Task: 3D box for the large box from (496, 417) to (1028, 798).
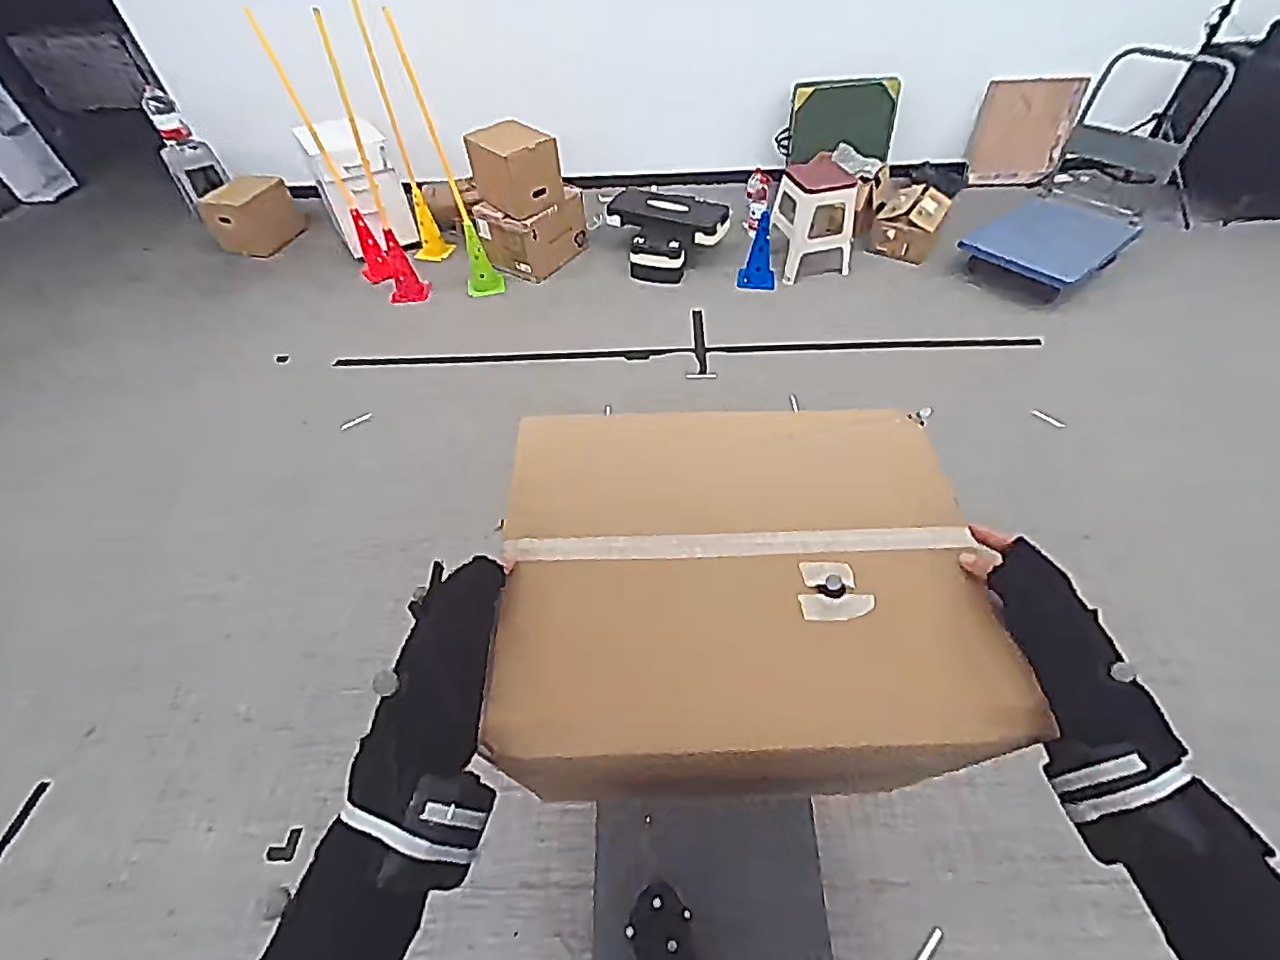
[{"bbox_3d":[0.083,0.149,0.599,0.408,0.320,0.320,-1,55,-2],"label":"large box"}]
